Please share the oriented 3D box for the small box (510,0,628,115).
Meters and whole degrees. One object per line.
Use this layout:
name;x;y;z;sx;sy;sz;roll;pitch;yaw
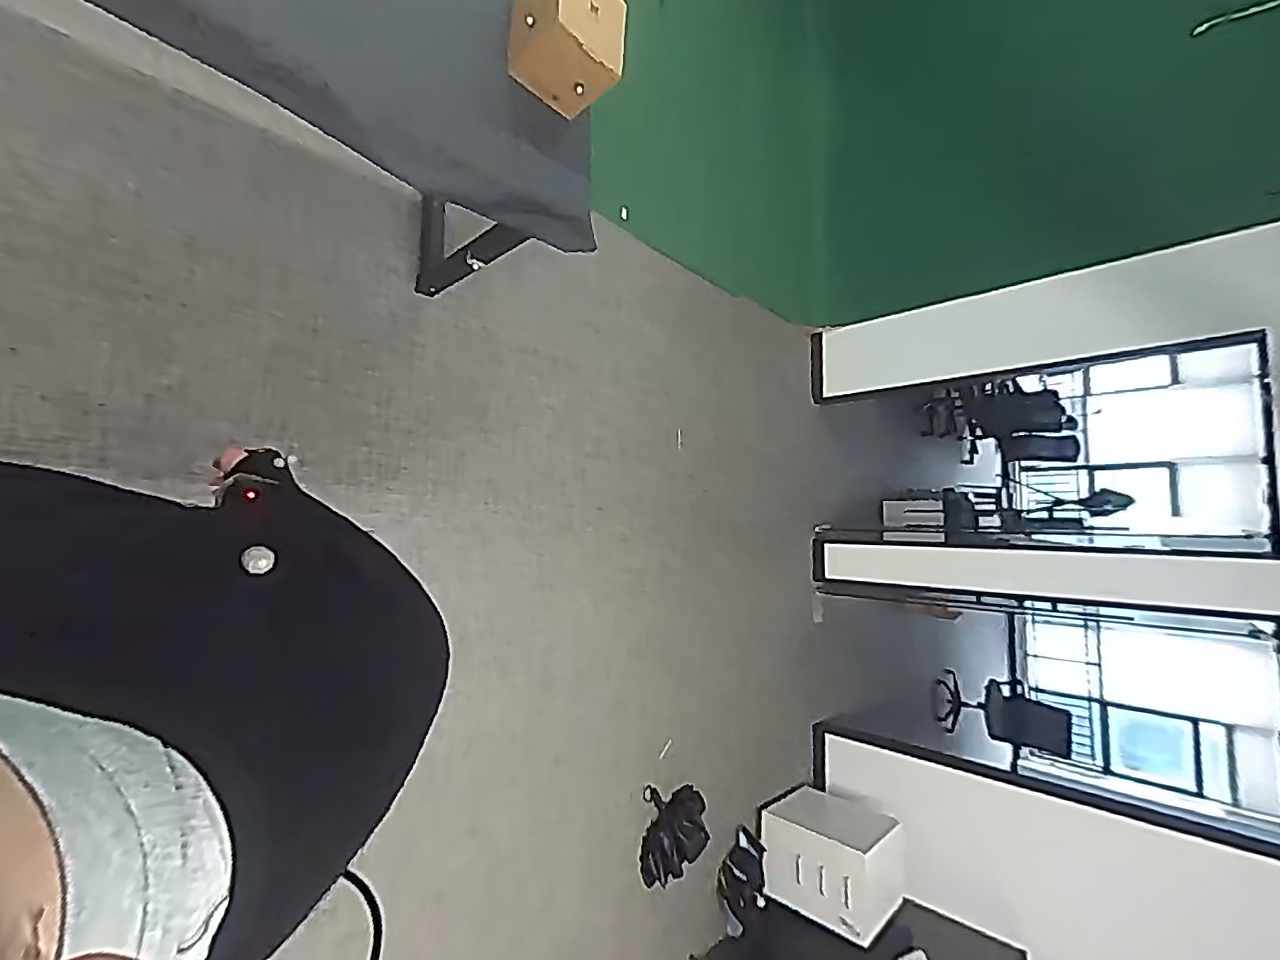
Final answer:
small box;-0.143;-0.884;1.077;0.168;0.176;0.179;10;79;-47
